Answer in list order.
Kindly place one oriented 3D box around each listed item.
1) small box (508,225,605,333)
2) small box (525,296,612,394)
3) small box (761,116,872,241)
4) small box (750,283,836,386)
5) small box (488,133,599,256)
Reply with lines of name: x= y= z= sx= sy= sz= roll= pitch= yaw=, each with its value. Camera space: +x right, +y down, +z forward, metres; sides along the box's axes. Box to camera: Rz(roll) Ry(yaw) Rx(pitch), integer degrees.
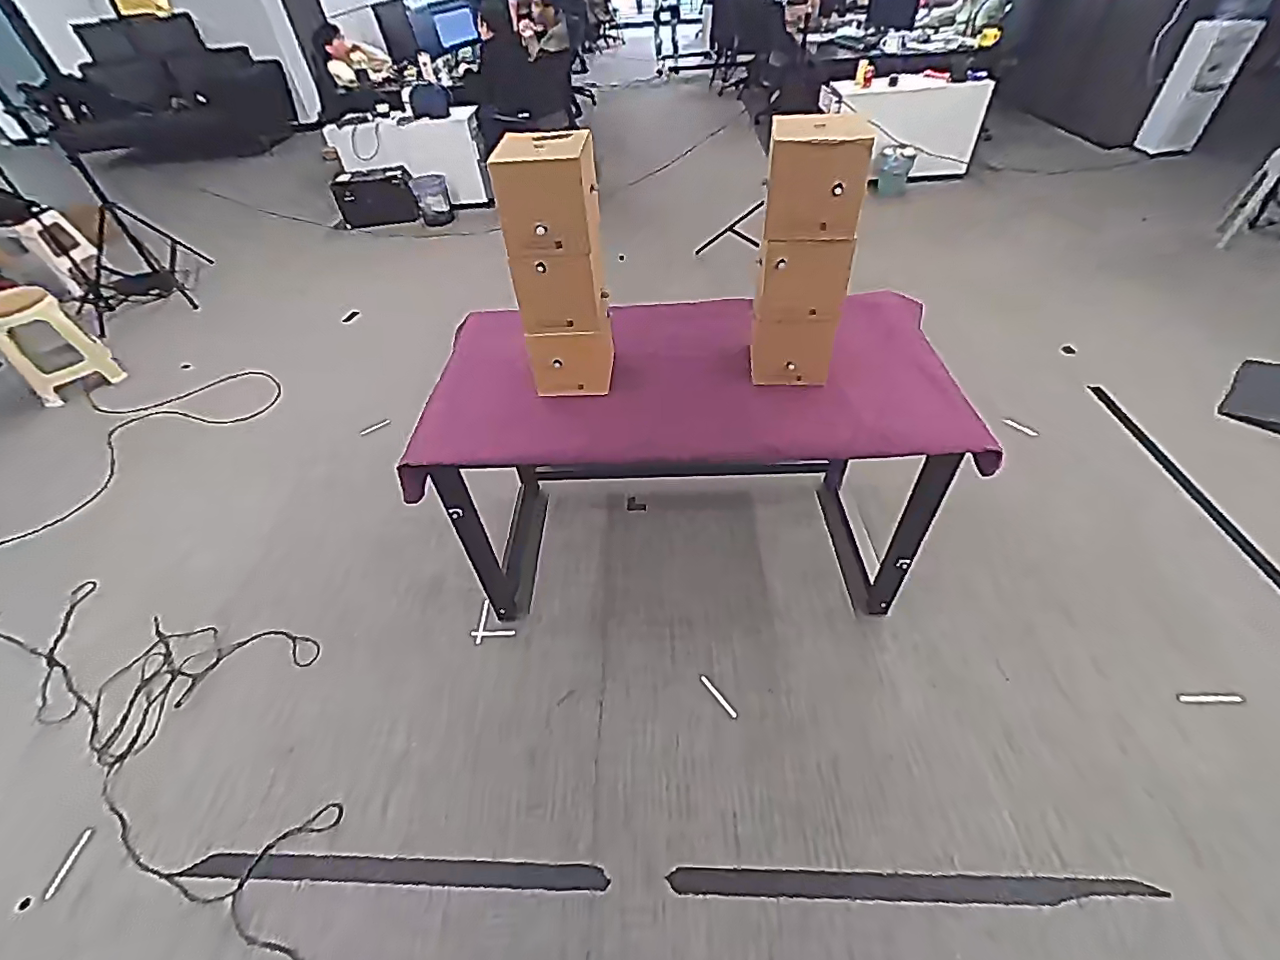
small box: x=-0.168 y=-0.432 z=1.157 sx=0.168 sy=0.176 sz=0.179 roll=-1 pitch=45 yaw=4
small box: x=-0.158 y=-0.313 z=1.270 sx=0.168 sy=0.176 sz=0.179 roll=-1 pitch=45 yaw=4
small box: x=0.320 y=-0.562 z=1.012 sx=0.168 sy=0.176 sz=0.179 roll=4 pitch=45 yaw=8
small box: x=0.345 y=-0.338 z=1.249 sx=0.168 sy=0.176 sz=0.179 roll=2 pitch=46 yaw=8
small box: x=-0.174 y=-0.547 z=1.038 sx=0.168 sy=0.176 sz=0.179 roll=-1 pitch=46 yaw=4
